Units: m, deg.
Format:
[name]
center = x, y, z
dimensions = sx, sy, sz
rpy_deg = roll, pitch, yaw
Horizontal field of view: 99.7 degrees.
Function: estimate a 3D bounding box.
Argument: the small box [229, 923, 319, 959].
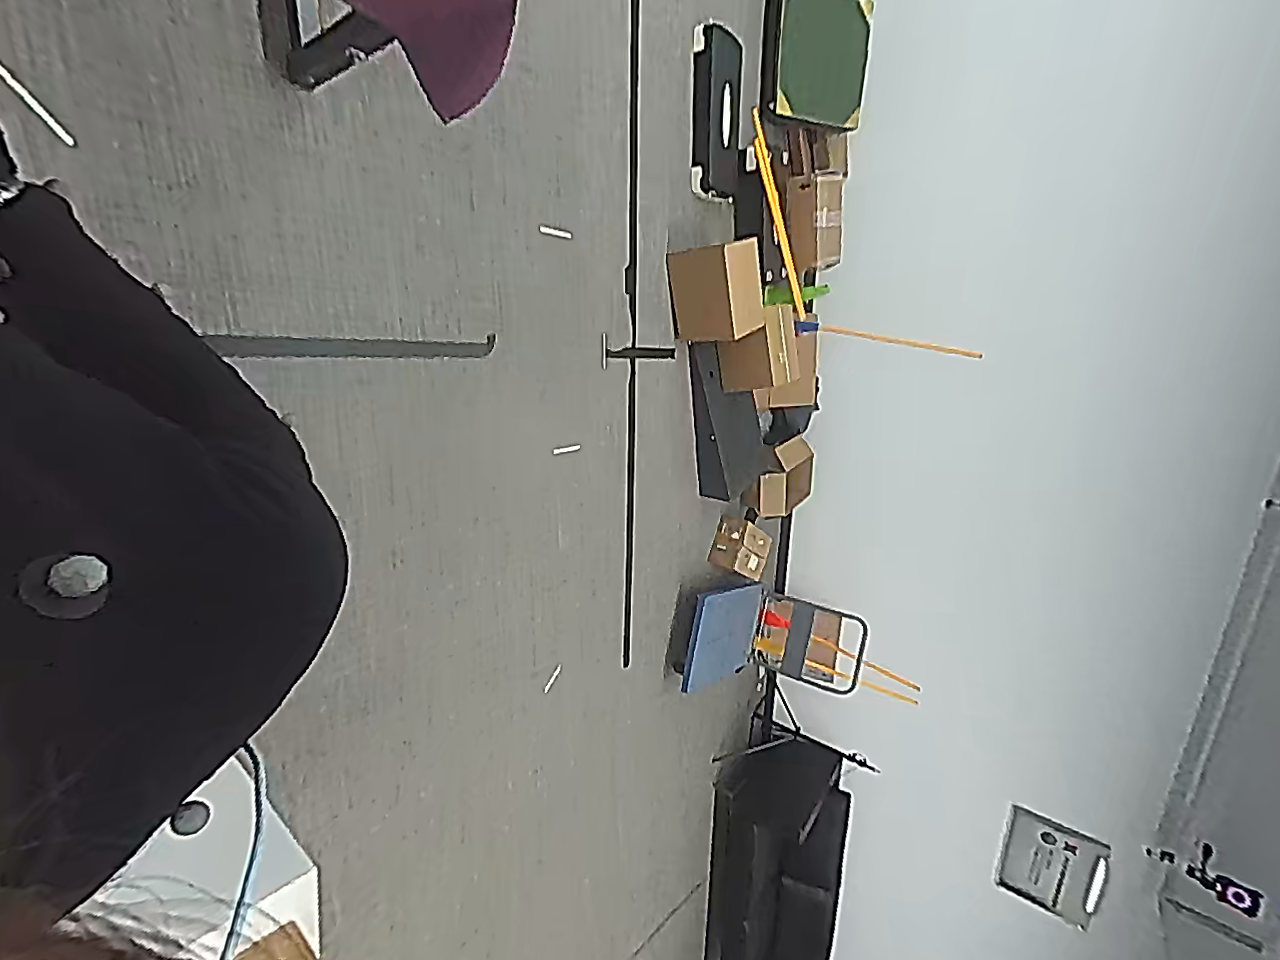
[small box]
center = -0.618, 0.897, 0.885
dimensions = 0.168, 0.176, 0.179
rpy_deg = -7, 107, -53
